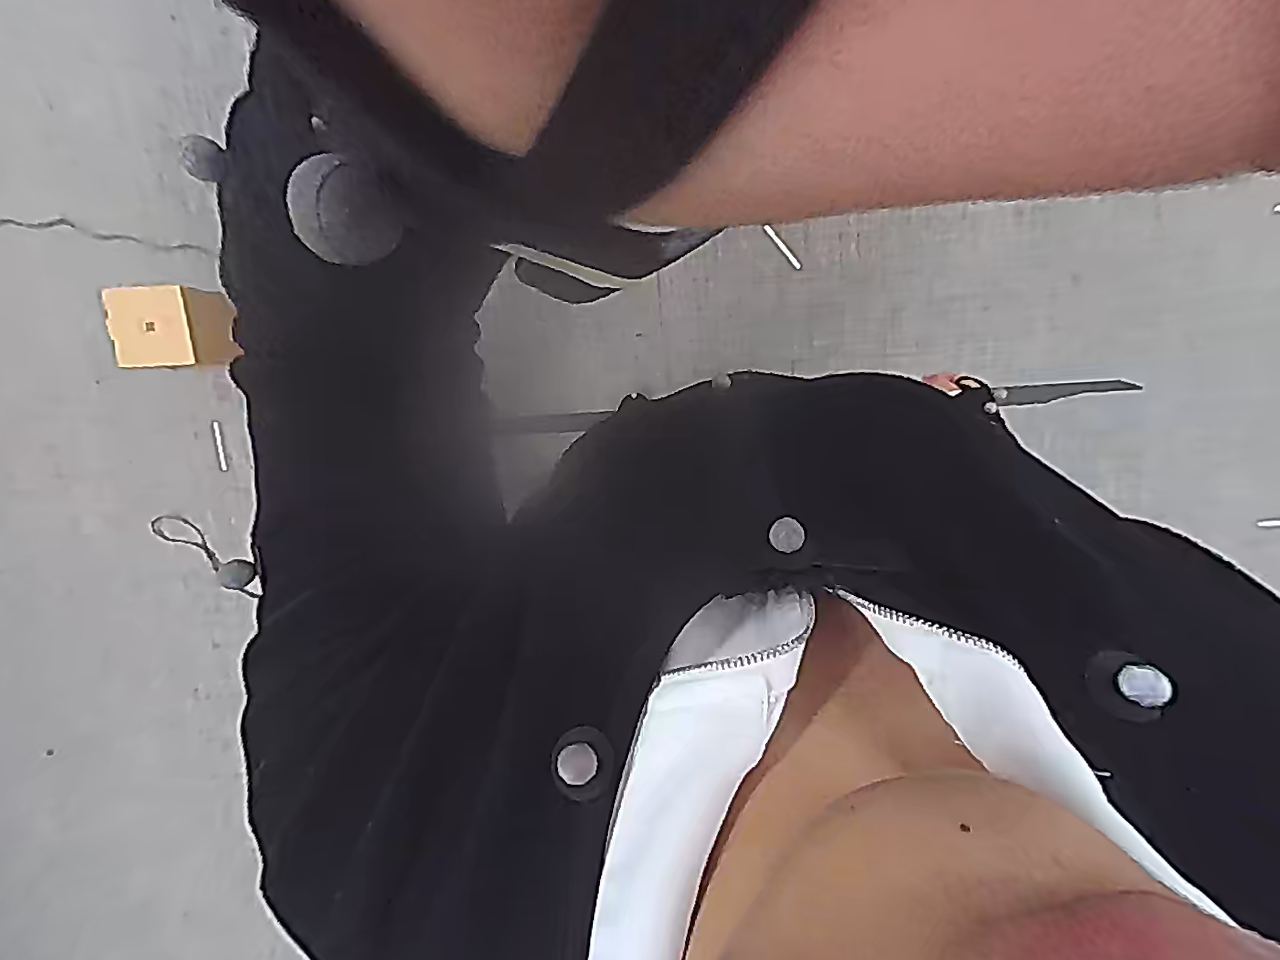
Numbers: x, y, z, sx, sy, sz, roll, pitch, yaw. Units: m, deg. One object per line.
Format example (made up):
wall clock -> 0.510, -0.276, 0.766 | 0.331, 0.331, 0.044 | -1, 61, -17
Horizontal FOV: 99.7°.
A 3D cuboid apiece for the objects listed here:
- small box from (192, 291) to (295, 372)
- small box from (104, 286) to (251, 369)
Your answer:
small box -> -1.029, -0.374, 1.387 | 0.168, 0.176, 0.179 | -5, 101, 3
small box -> -1.038, -0.340, 1.229 | 0.179, 0.176, 0.168 | -3, 102, 1
